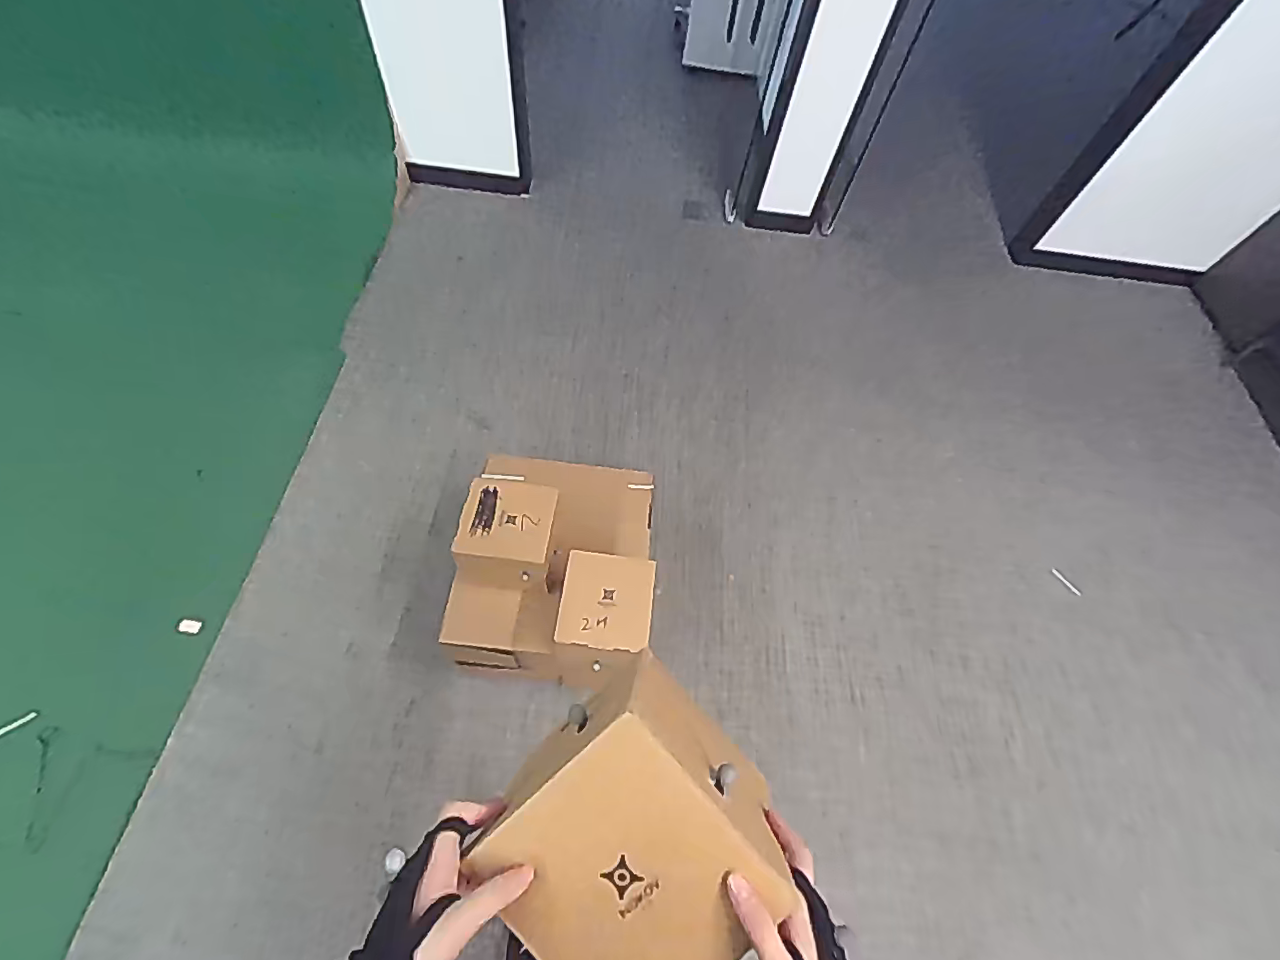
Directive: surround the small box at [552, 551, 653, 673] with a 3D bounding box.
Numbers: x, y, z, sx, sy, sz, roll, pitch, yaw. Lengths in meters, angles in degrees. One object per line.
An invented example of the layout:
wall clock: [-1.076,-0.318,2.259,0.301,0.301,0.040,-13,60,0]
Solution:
small box: [-0.074,0.259,1.045,0.168,0.176,0.179,8,59,-3]
